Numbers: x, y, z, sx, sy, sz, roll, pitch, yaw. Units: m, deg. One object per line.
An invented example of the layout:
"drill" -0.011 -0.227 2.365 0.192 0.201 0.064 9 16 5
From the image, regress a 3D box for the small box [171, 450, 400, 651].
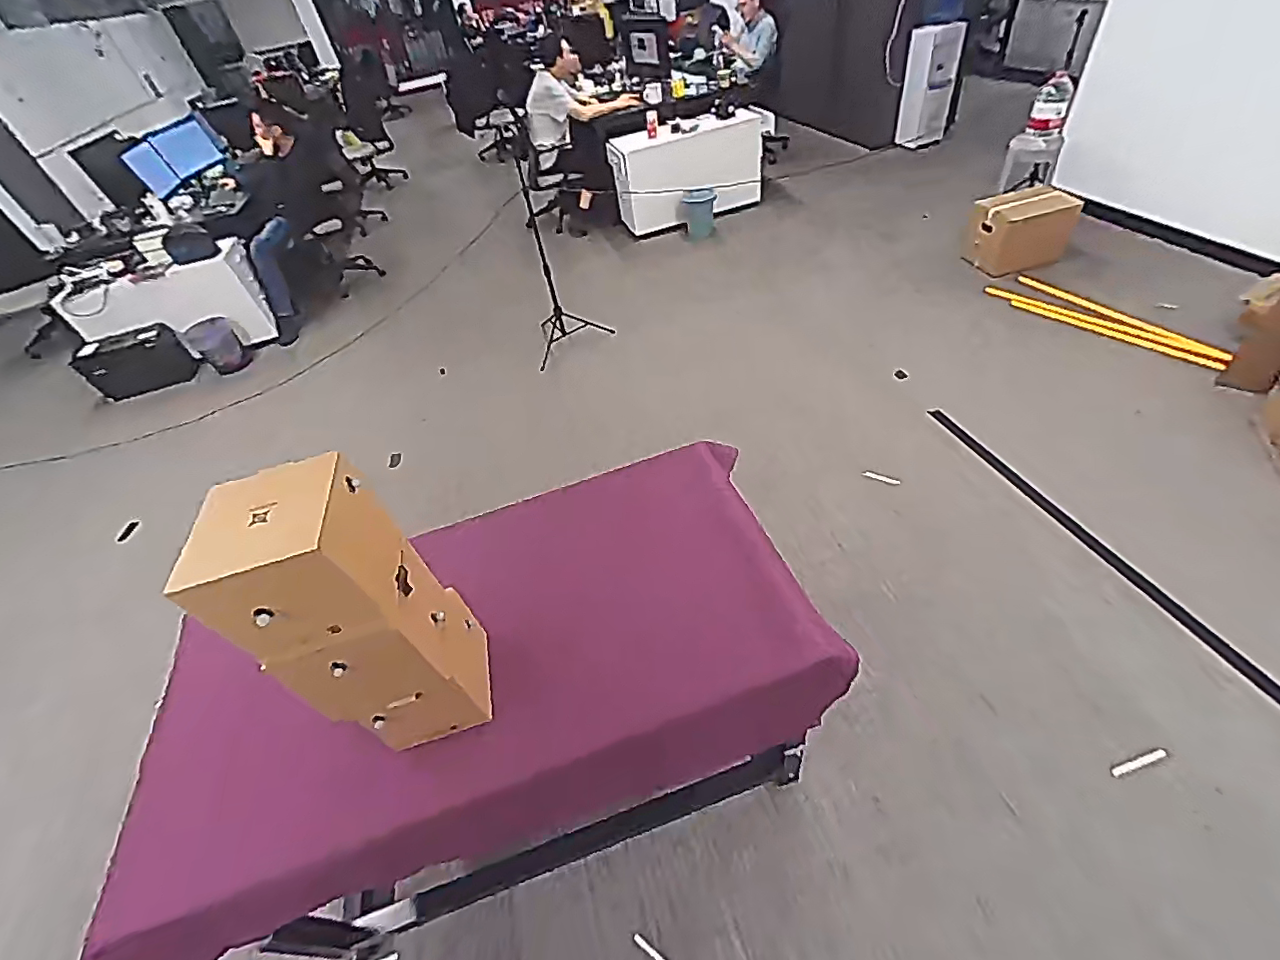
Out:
"small box" -0.426 0.095 0.690 0.168 0.176 0.179 -17 44 -4

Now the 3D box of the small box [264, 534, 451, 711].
"small box" -0.399 0.213 0.798 0.179 0.176 0.168 -16 45 -4
